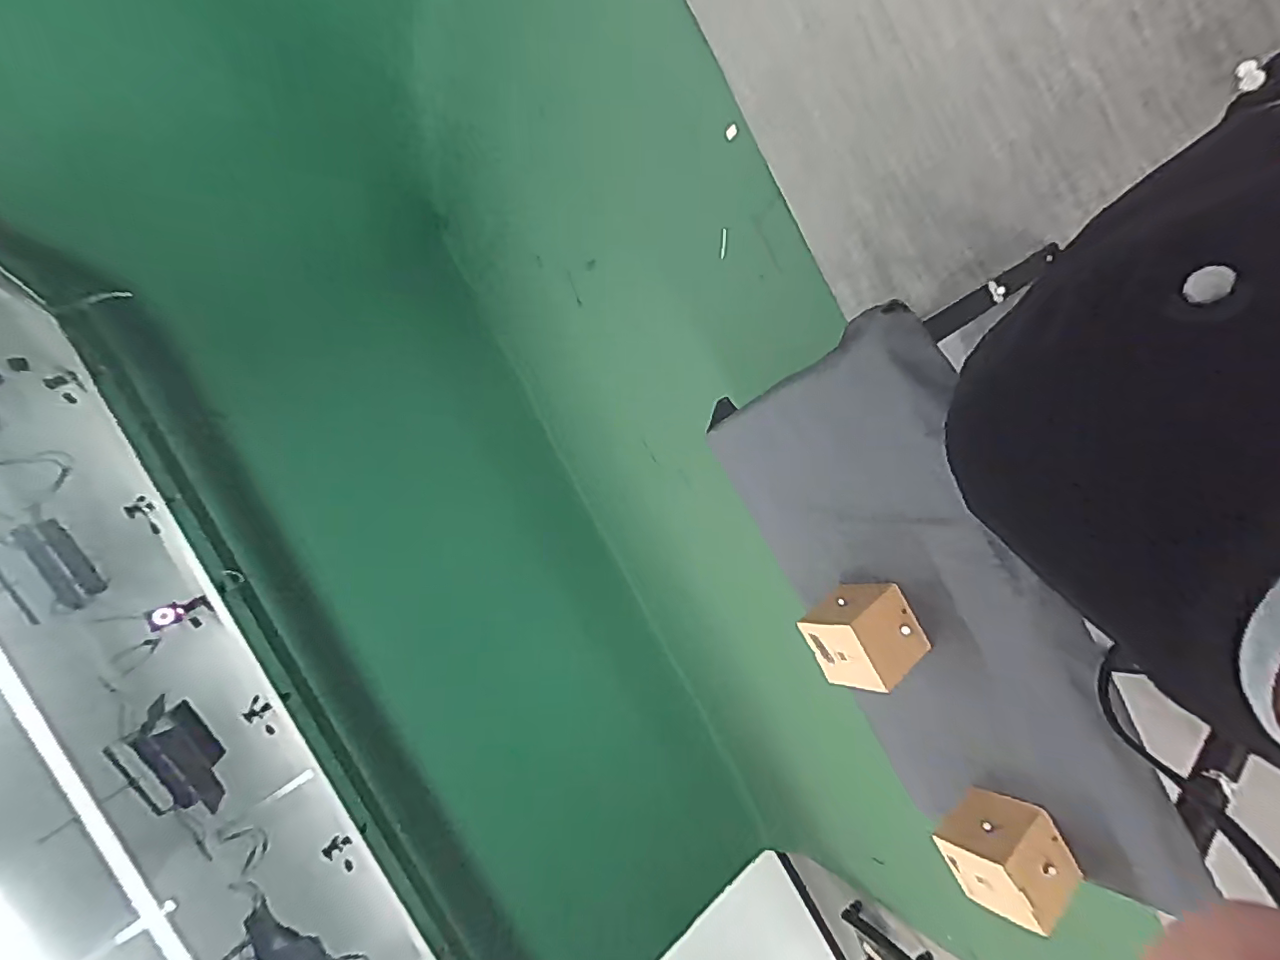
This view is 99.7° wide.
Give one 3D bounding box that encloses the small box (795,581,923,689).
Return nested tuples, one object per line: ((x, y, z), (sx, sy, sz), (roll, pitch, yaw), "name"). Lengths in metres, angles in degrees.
((0.497, 0.344, 1.231), (0.168, 0.176, 0.179), (60, 153, -2), "small box")

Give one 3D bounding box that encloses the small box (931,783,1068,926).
((0.796, 0.807, 1.191), (0.168, 0.176, 0.179), (59, 153, 1), "small box")
